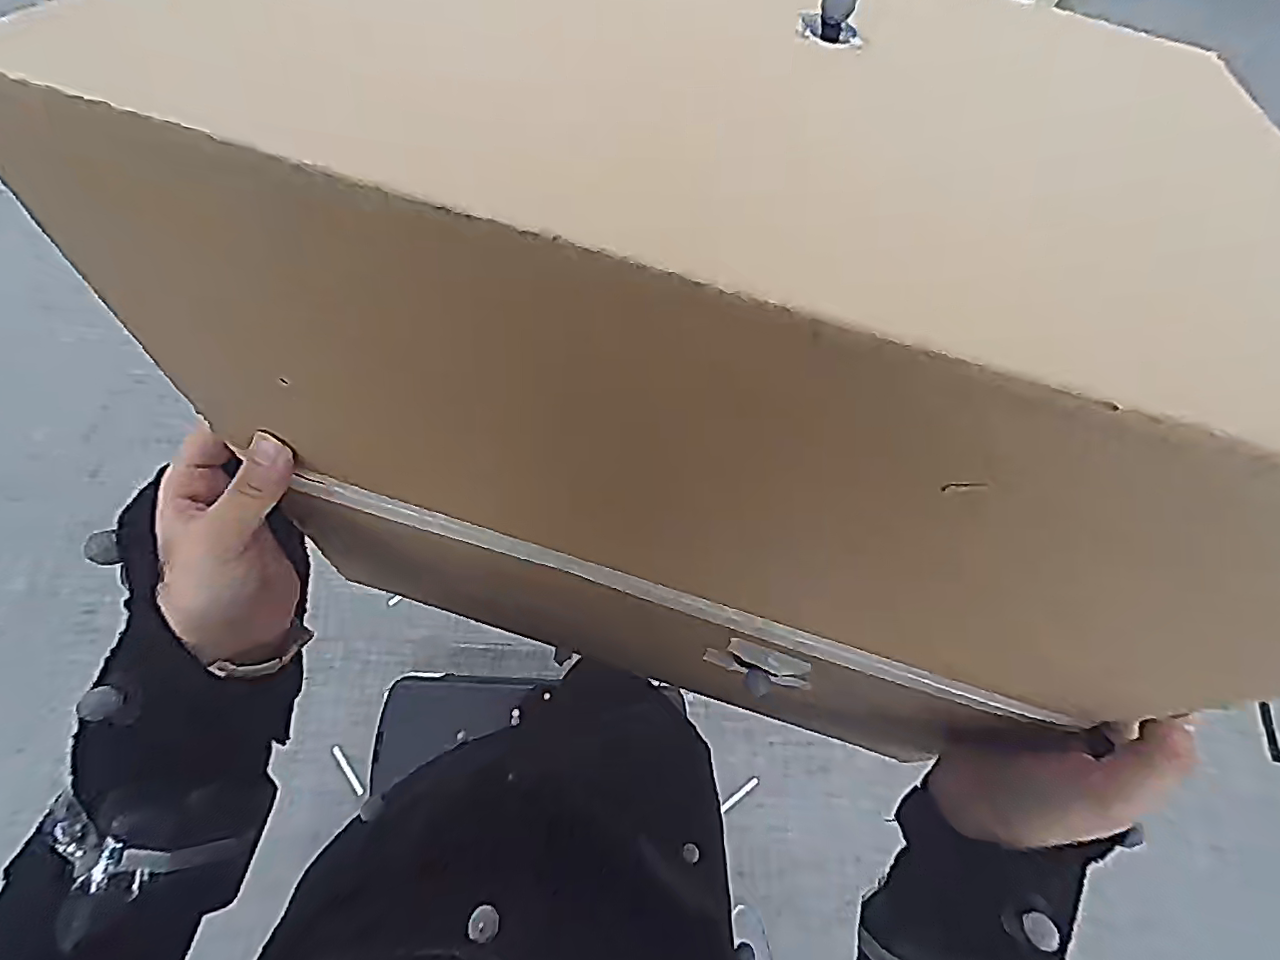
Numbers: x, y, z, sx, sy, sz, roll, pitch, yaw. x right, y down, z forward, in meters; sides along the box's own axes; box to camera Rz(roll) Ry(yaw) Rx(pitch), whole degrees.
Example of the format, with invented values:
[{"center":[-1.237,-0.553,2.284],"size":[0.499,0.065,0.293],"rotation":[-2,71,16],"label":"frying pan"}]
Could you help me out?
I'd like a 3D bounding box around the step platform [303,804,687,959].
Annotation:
[{"center":[-0.253,0.842,1.032],"size":[0.684,0.204,0.286],"rotation":[10,71,-2],"label":"step platform"}]
